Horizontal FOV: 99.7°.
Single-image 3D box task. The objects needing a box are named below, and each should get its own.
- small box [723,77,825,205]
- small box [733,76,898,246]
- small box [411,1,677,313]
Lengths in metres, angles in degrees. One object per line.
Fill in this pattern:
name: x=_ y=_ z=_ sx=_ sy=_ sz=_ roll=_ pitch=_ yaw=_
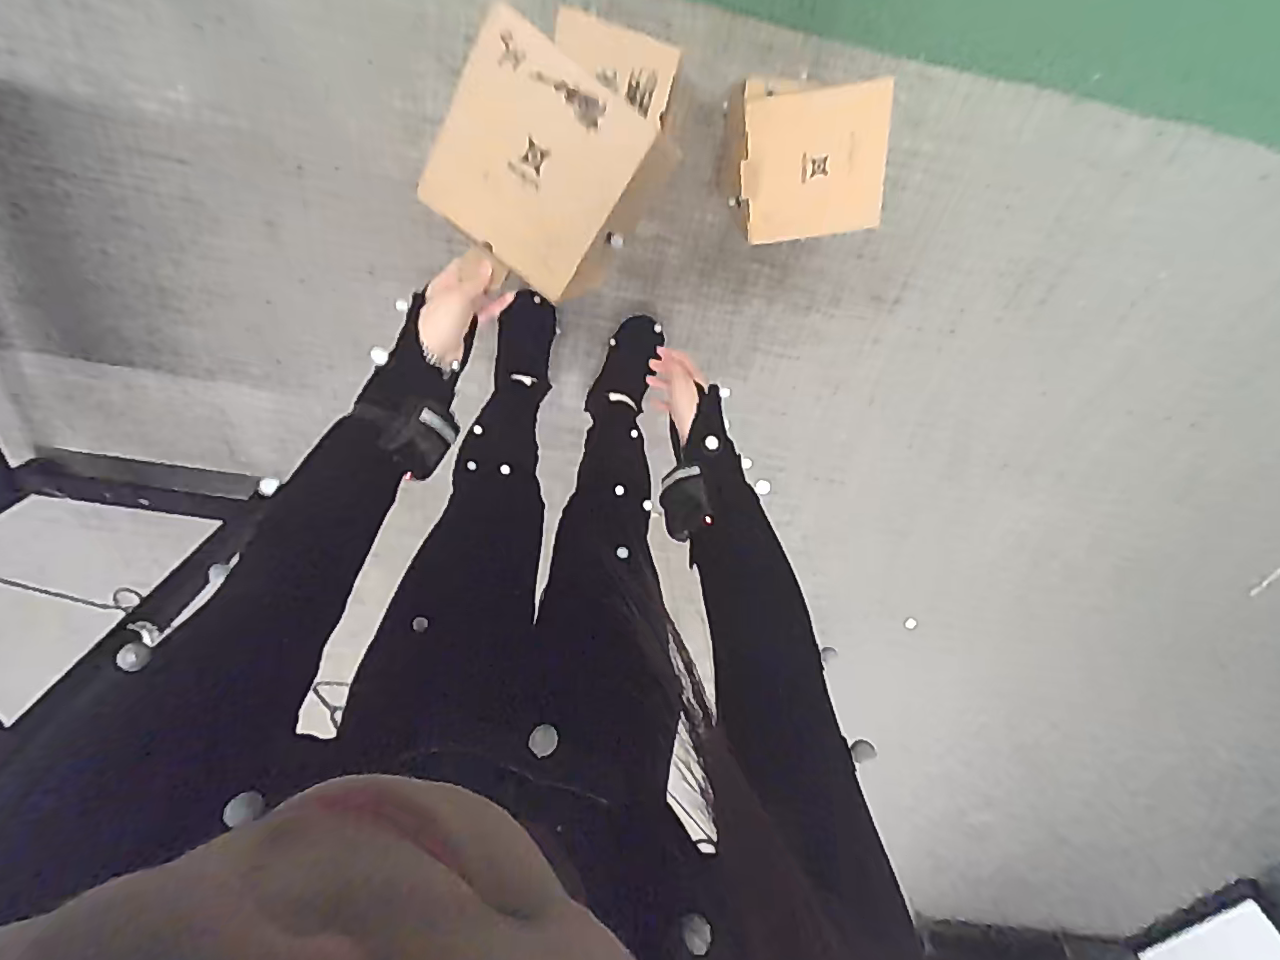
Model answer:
small box: x=0.235 y=-0.530 z=0.865 sx=0.179 sy=0.176 sz=0.168 roll=3 pitch=124 yaw=-2
small box: x=0.223 y=-0.432 z=0.736 sx=0.179 sy=0.176 sz=0.168 roll=-7 pitch=125 yaw=5
small box: x=-0.081 y=-0.296 z=0.532 sx=0.168 sy=0.176 sz=0.179 roll=38 pitch=118 yaw=-7
